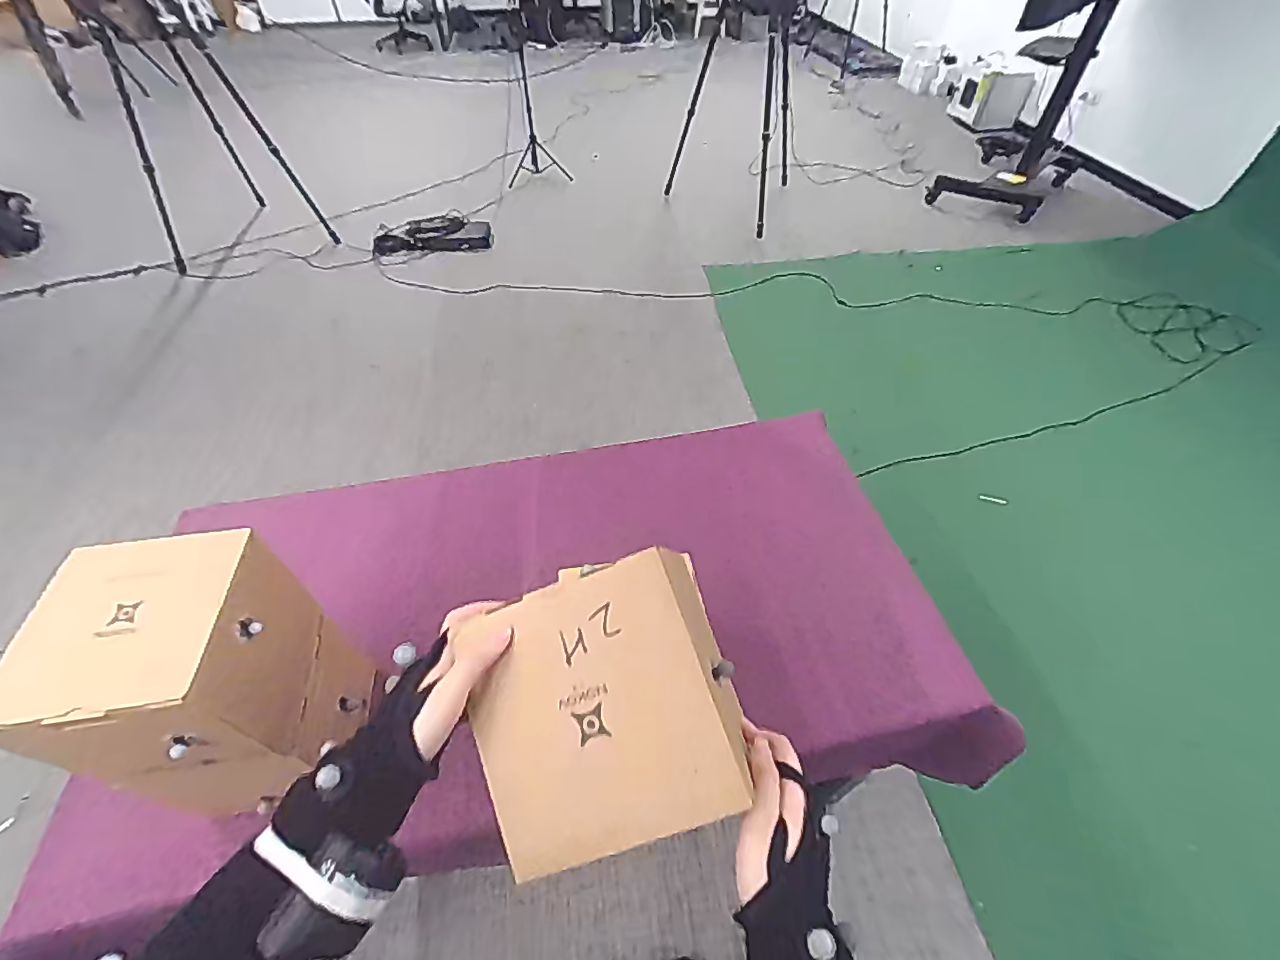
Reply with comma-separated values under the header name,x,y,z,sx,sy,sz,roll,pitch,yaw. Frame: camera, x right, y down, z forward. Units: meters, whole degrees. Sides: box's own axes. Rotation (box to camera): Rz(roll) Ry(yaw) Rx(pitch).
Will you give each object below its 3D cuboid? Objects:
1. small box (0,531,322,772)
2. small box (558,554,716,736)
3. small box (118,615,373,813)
name,x,y,z,sx,sy,sz,roll,pitch,yaw
small box,-0.454,0.177,0.543,0.168,0.176,0.179,-6,48,-5
small box,-0.008,0.221,0.716,0.179,0.176,0.168,-7,49,-5
small box,-0.452,0.288,0.663,0.179,0.176,0.168,-7,49,-6
